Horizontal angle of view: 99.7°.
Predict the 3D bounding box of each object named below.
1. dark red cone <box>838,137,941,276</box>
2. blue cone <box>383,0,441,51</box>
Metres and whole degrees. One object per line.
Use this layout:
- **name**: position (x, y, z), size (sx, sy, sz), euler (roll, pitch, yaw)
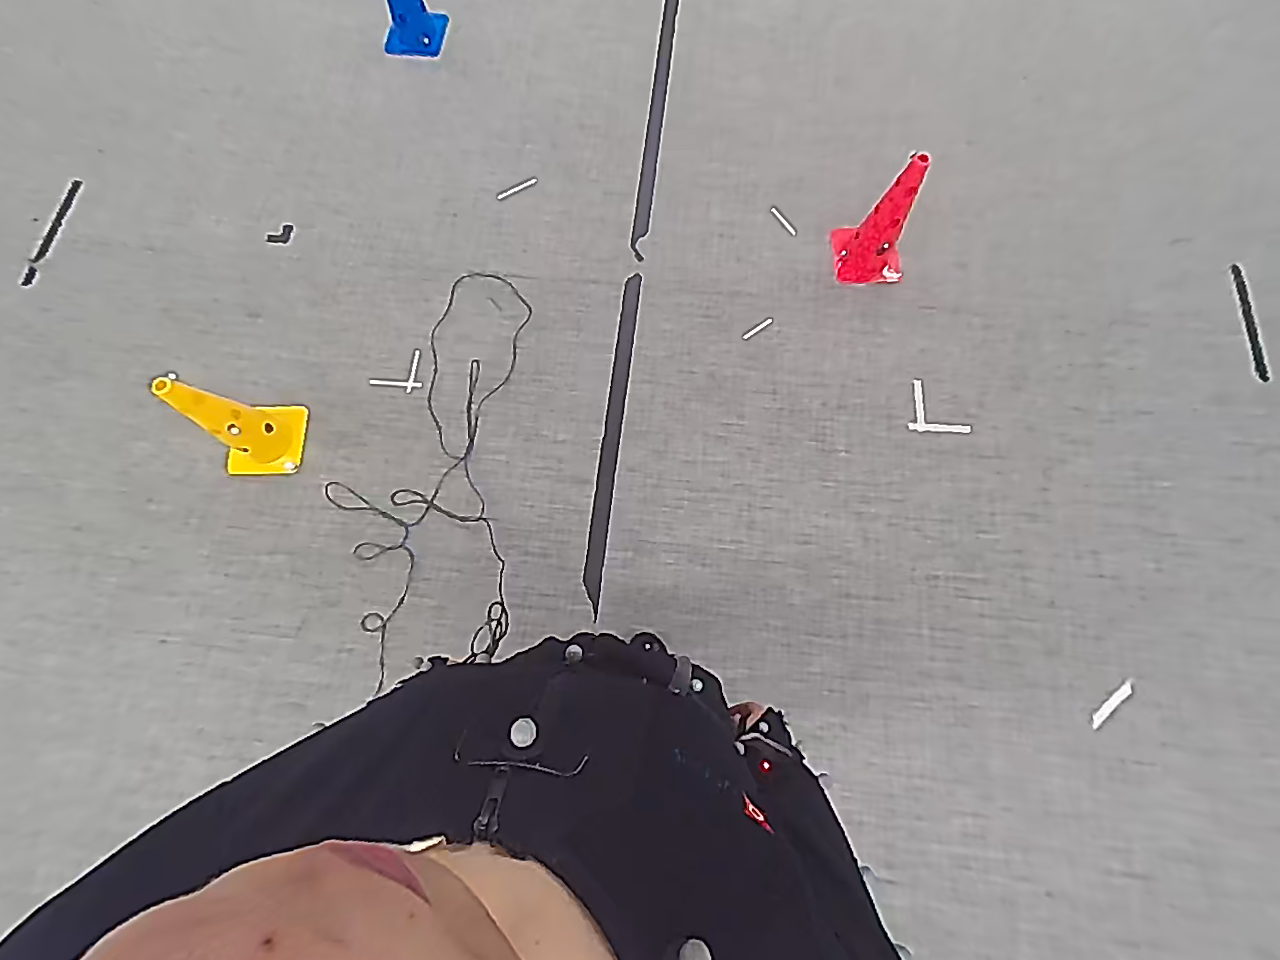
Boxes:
- **dark red cone**: position (0.696, -0.744, 1.458), size (0.201, 0.394, 0.202), euler (-2, 75, 1)
- **blue cone**: position (-0.803, -1.623, 1.740), size (0.192, 0.380, 0.193), euler (6, 75, 3)
